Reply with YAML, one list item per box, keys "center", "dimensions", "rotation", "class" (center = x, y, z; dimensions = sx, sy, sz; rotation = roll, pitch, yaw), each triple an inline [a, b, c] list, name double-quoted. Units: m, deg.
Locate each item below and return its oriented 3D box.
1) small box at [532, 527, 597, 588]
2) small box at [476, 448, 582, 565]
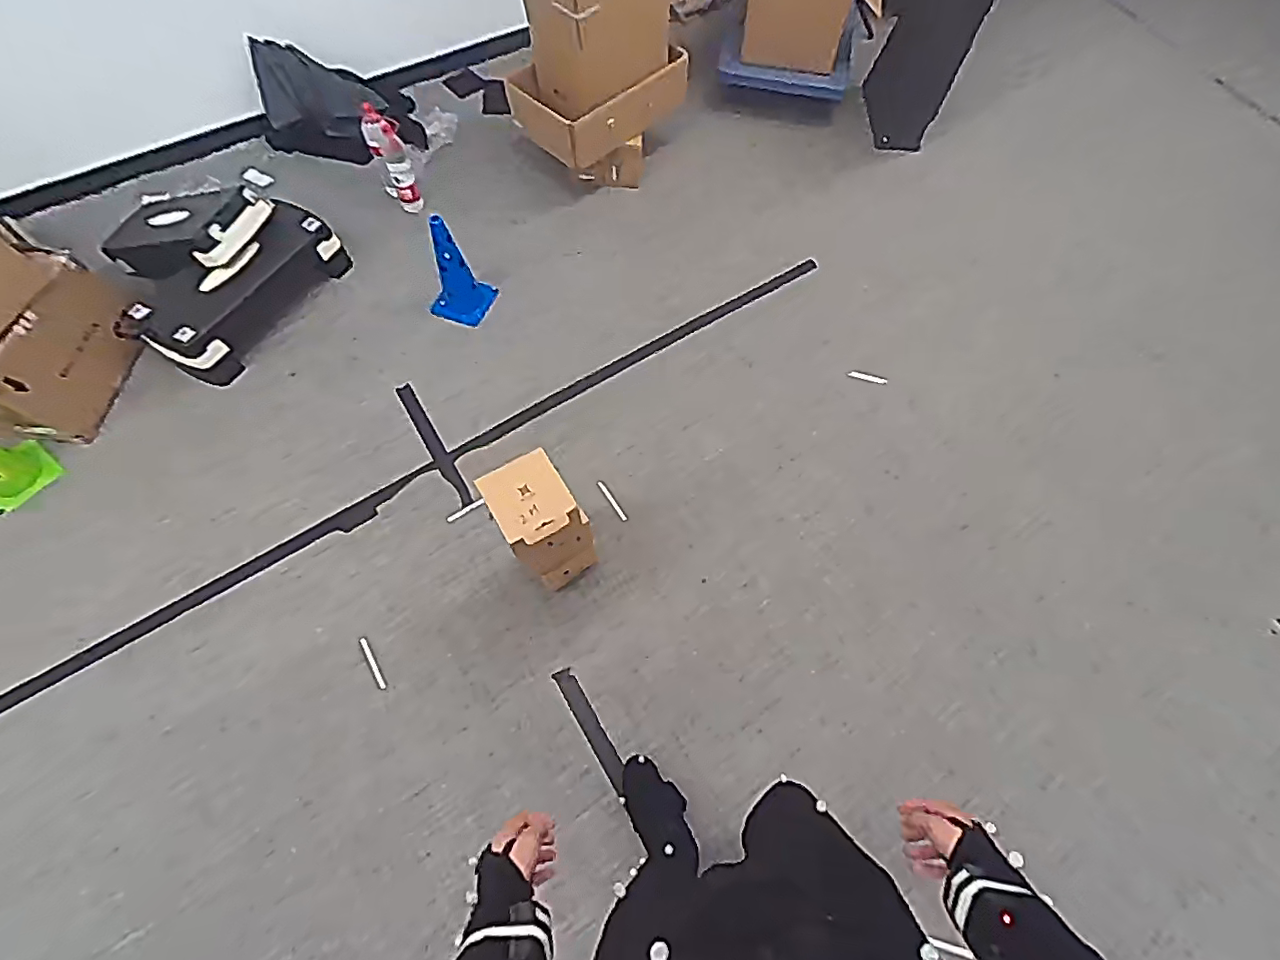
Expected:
- center: [-0.236, 0.187, 1.533]
  dimensions: [0.168, 0.176, 0.179]
  rotation: [-35, 70, -16]
  class: "small box"
- center: [-0.246, 0.065, 1.225]
  dimensions: [0.168, 0.176, 0.179]
  rotation: [-29, 69, -14]
  class: "small box"
